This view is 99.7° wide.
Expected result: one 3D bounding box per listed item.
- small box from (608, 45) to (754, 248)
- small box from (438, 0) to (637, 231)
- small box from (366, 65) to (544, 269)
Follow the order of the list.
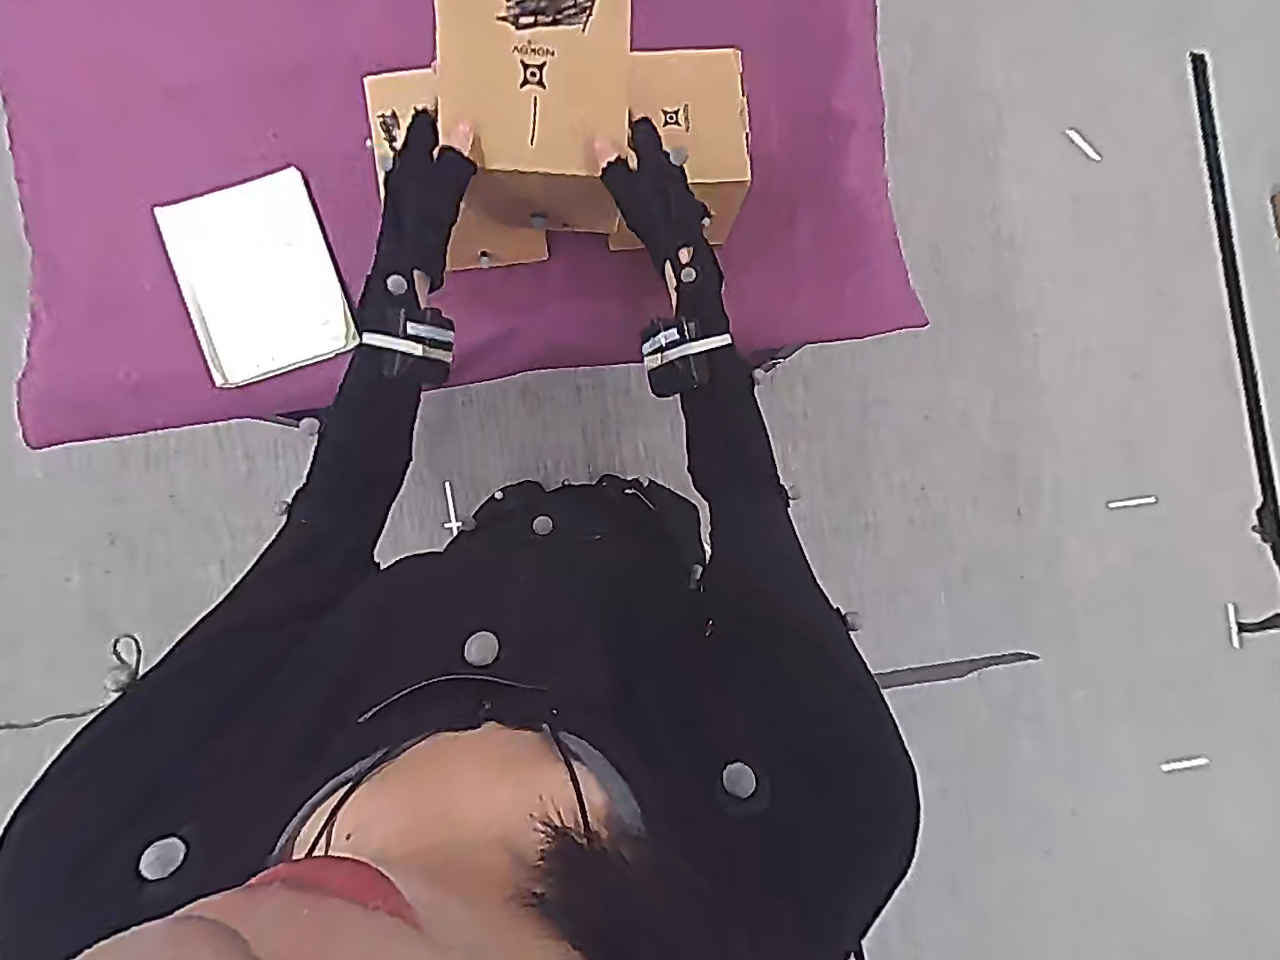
[{"bbox_3d":[0.040,-0.427,0.717,0.179,0.176,0.168,-5,88,-2],"label":"small box"},{"bbox_3d":[-0.095,-0.368,0.535,0.168,0.176,0.179,1,100,-6],"label":"small box"},{"bbox_3d":[-0.222,-0.391,0.698,0.179,0.176,0.168,-8,89,-5],"label":"small box"}]
